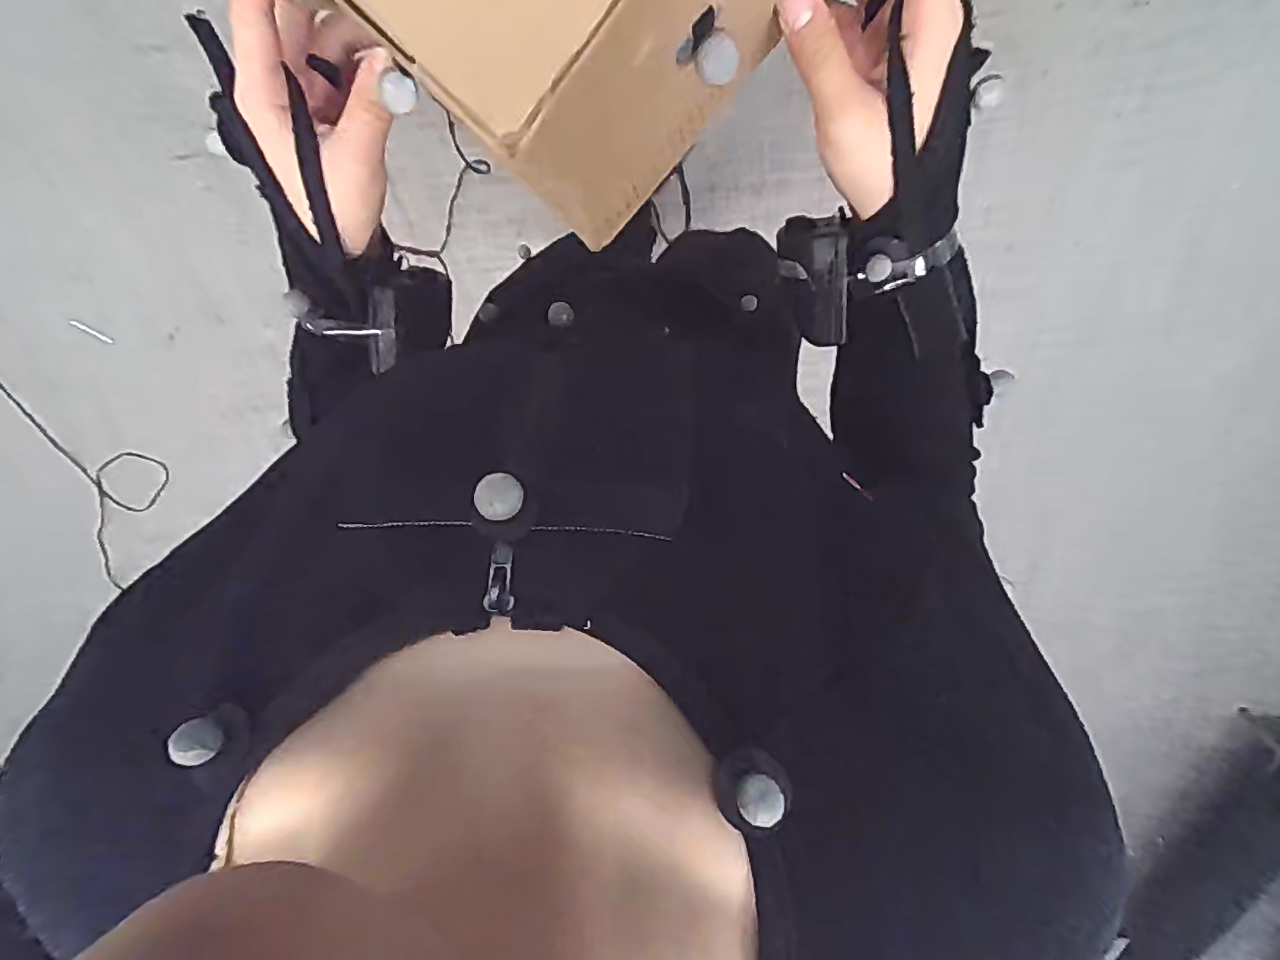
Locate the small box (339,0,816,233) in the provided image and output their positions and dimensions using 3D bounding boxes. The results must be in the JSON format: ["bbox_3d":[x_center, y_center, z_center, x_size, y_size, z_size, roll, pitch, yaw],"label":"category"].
[{"bbox_3d":[-0.024,-0.217,0.189,0.168,0.176,0.179,42,105,-8],"label":"small box"}]
